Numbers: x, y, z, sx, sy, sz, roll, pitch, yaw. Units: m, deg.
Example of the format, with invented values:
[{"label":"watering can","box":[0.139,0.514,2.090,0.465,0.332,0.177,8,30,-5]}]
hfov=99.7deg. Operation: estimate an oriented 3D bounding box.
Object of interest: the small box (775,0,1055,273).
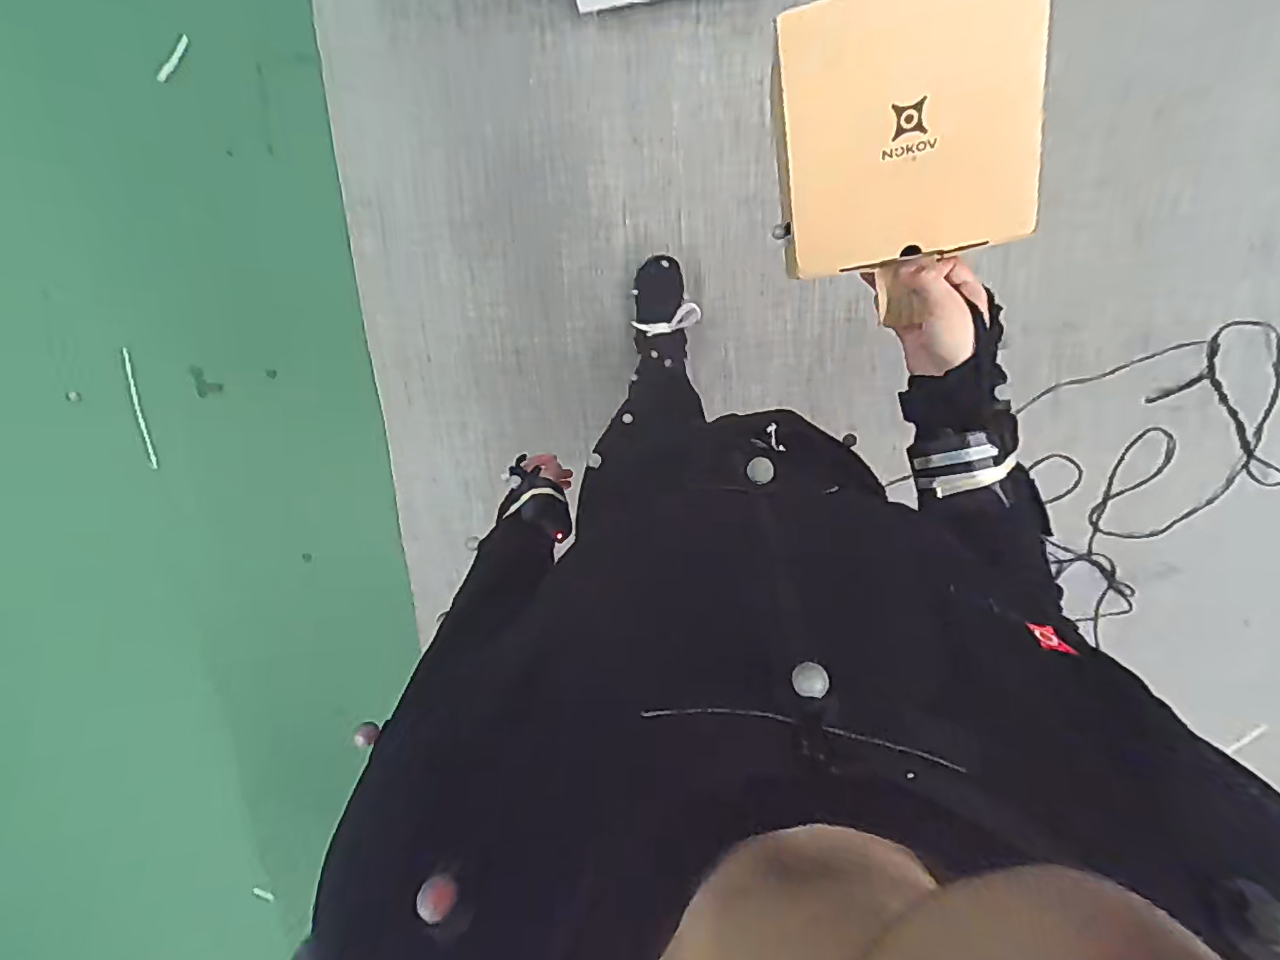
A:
[{"label":"small box","box":[0.204,-0.276,0.447,0.168,0.176,0.179,-6,110,14]}]
